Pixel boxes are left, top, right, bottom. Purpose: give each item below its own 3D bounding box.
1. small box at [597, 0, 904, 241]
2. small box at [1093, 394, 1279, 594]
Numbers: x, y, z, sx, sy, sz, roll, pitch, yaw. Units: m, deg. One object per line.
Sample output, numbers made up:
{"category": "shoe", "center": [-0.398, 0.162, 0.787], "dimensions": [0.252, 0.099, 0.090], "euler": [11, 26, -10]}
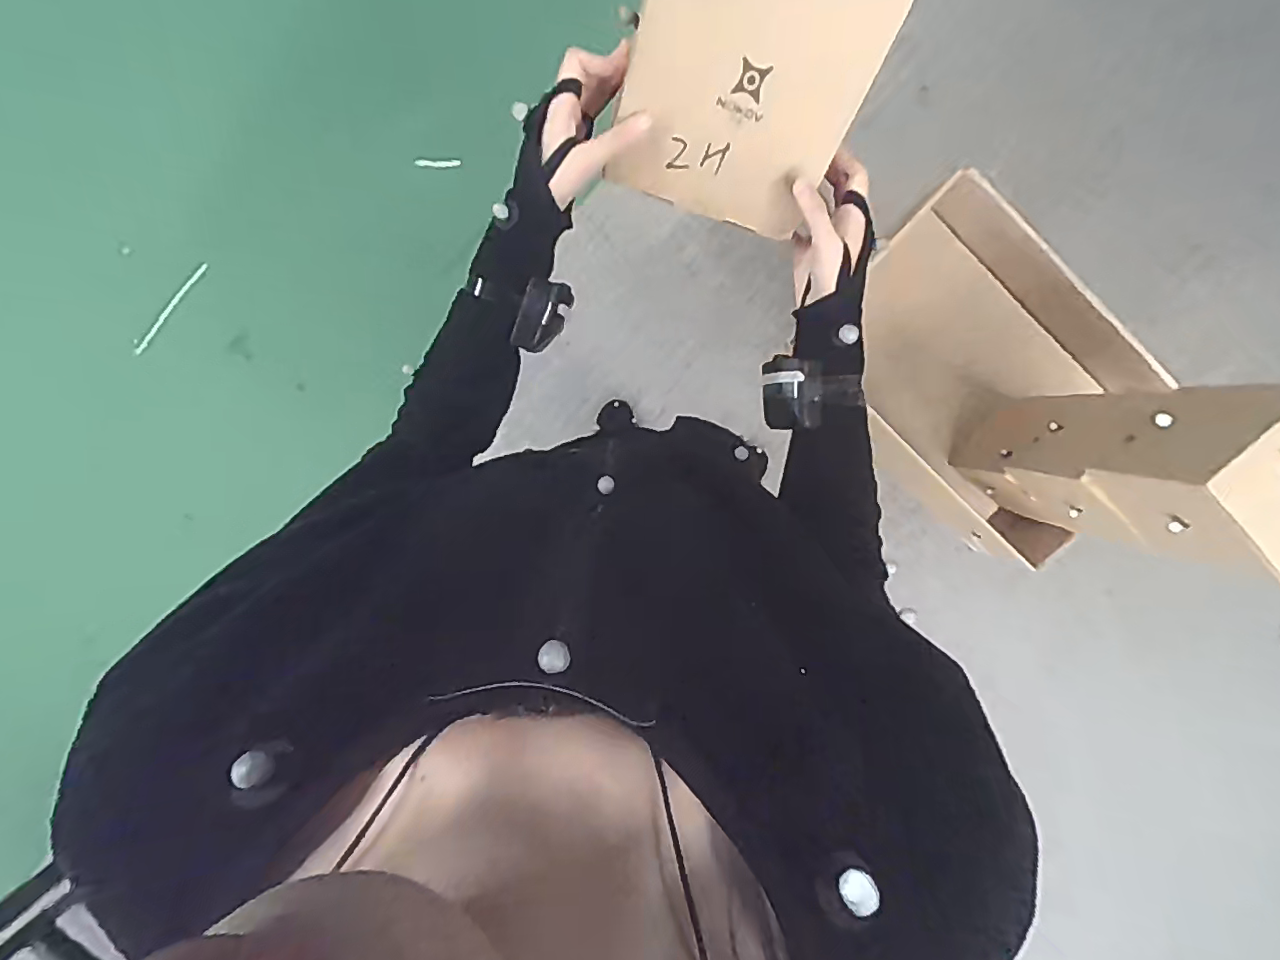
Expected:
{"category": "small box", "center": [0.069, -0.334, 0.436], "dimensions": [0.168, 0.176, 0.179], "euler": [14, 135, -13]}
{"category": "small box", "center": [0.736, 0.005, 0.669], "dimensions": [0.168, 0.176, 0.179], "euler": [-43, 95, 5]}
